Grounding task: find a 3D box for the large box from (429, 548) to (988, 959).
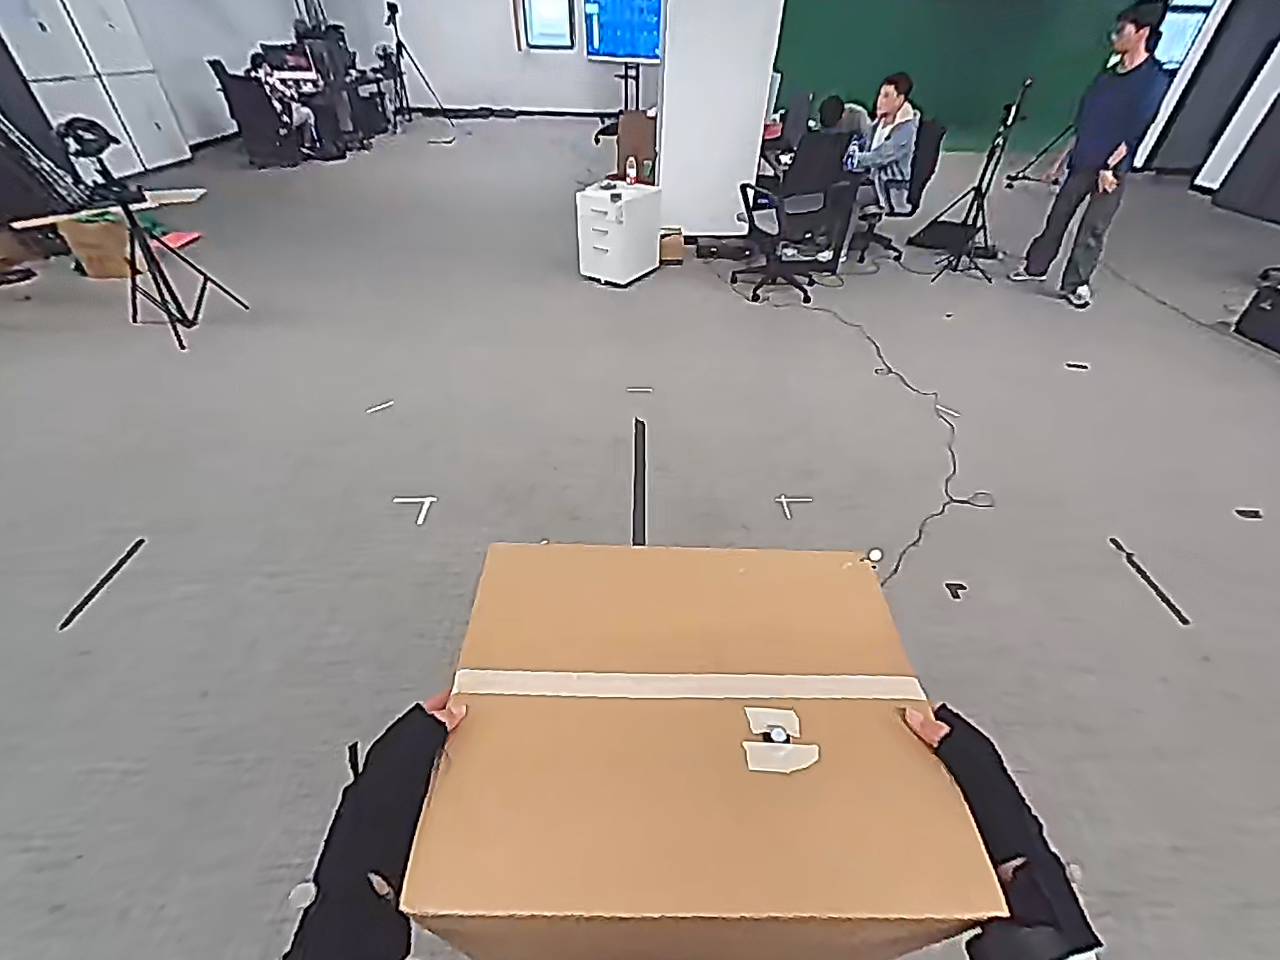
[{"bbox_3d":[0.042,0.291,0.583,0.408,0.320,0.320,2,44,-2],"label":"large box"}]
